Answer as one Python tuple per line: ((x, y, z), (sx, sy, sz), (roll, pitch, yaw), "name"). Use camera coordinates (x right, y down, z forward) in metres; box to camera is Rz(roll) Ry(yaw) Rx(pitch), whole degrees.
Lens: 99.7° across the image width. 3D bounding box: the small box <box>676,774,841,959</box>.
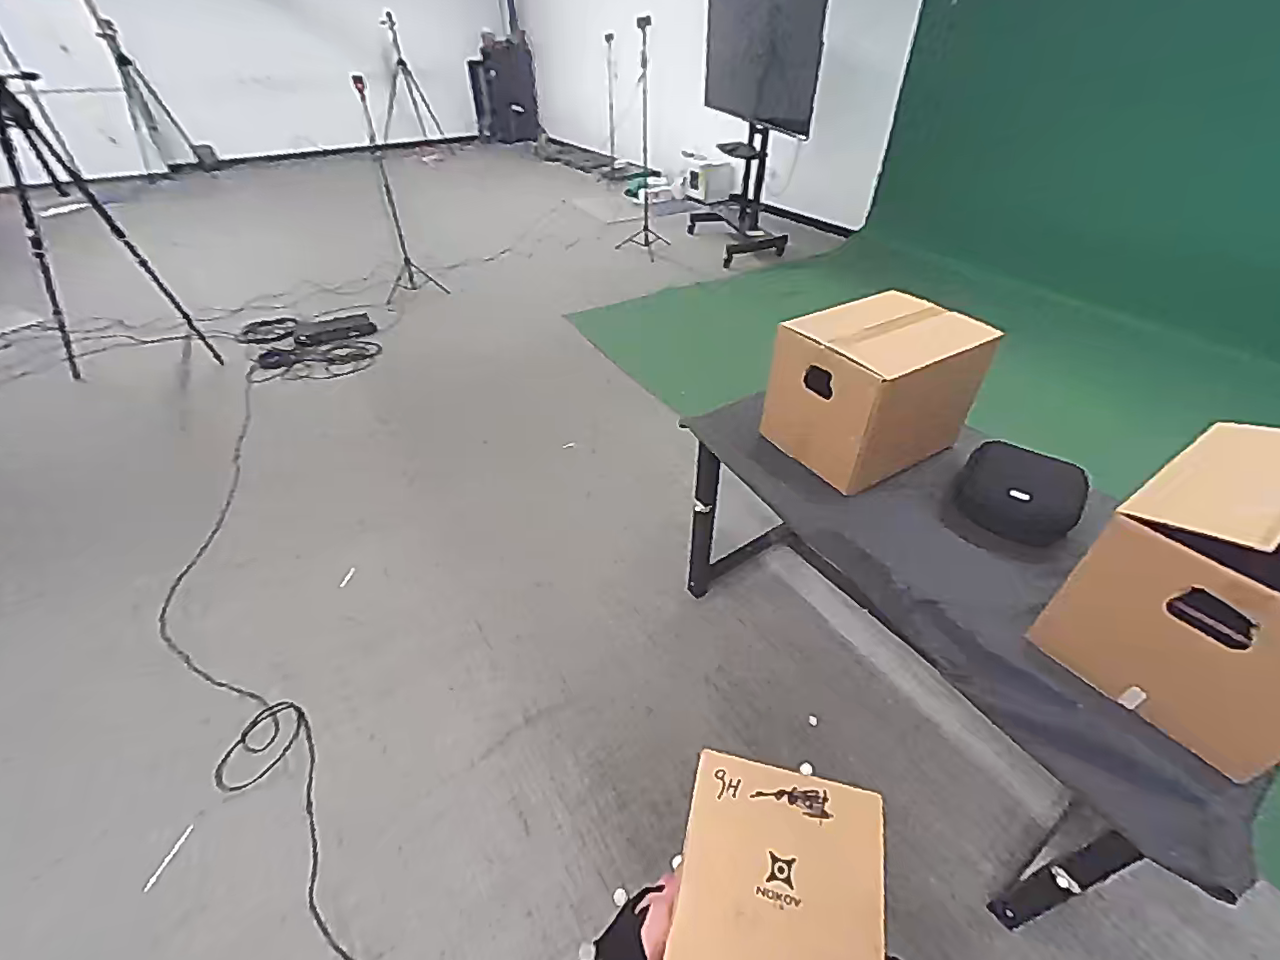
((0.144, 0.485, 0.651), (0.168, 0.176, 0.179), (6, 50, 13), "small box")
